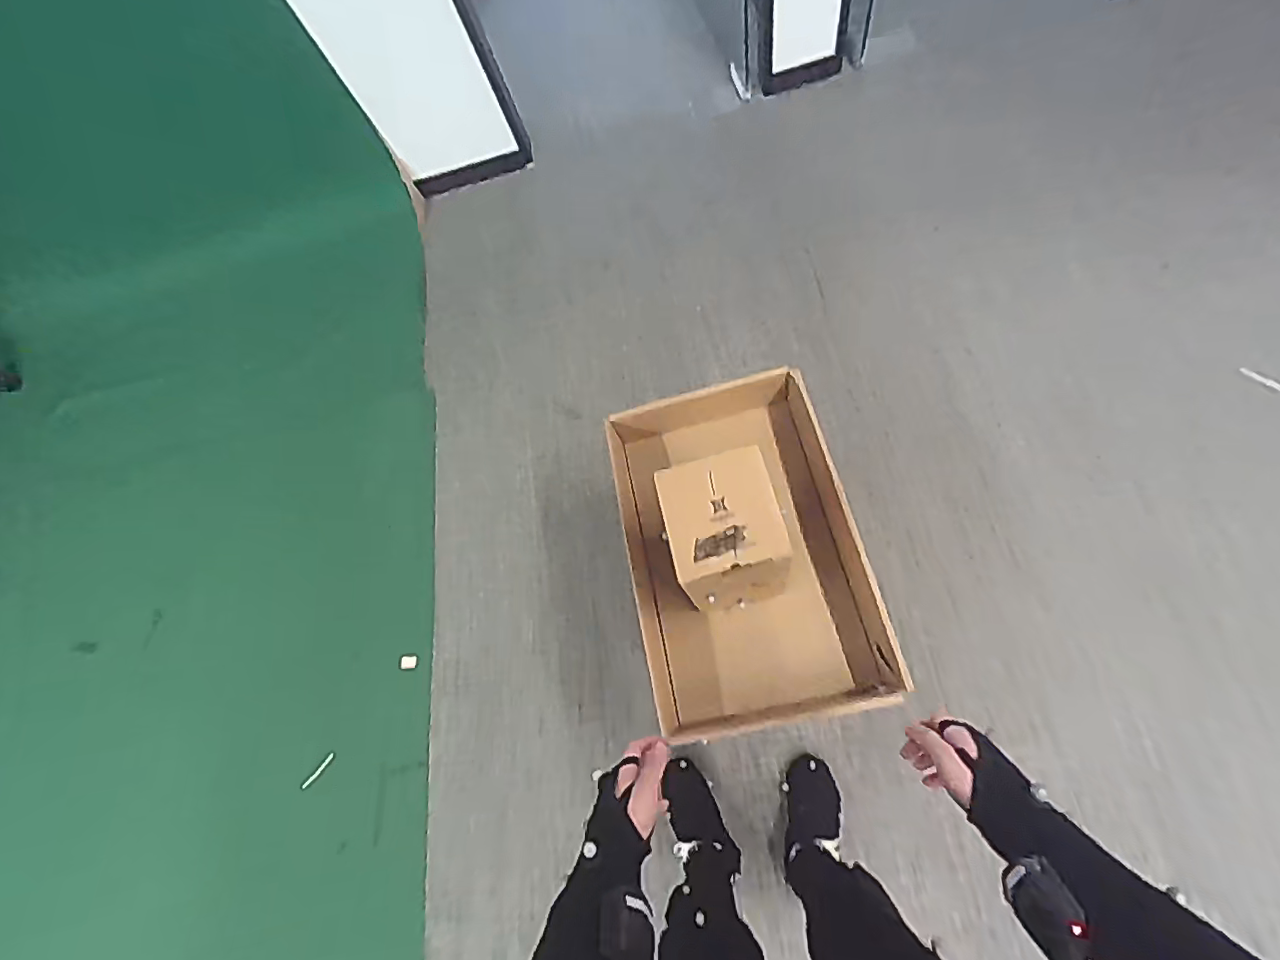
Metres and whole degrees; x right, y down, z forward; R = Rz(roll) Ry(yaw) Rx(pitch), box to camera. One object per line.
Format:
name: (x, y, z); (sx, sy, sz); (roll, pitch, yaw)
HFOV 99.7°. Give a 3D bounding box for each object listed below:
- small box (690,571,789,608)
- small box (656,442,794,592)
small box: (0.167, 0.126, 0.997); (0.168, 0.176, 0.179); (-14, 67, 8)
small box: (0.134, 0.069, 0.847); (0.168, 0.176, 0.179); (-15, 66, 6)
